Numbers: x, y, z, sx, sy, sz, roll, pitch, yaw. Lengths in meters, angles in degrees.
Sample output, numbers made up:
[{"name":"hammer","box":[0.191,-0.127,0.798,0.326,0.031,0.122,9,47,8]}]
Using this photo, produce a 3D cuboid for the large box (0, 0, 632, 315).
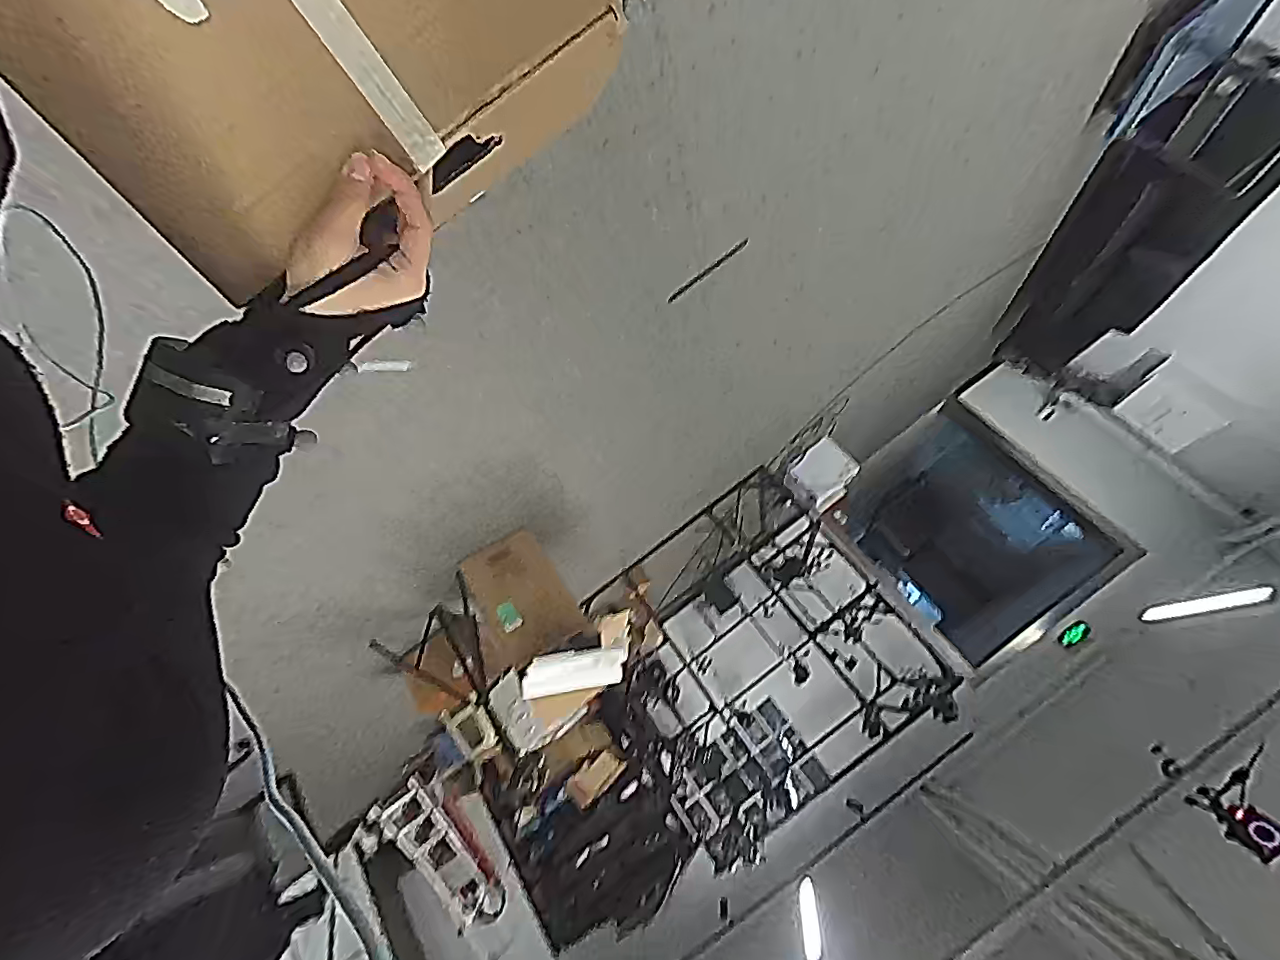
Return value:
[{"name":"large box","box":[-0.267,-0.395,0.395,0.320,0.320,0.408,-35,117,5]}]
